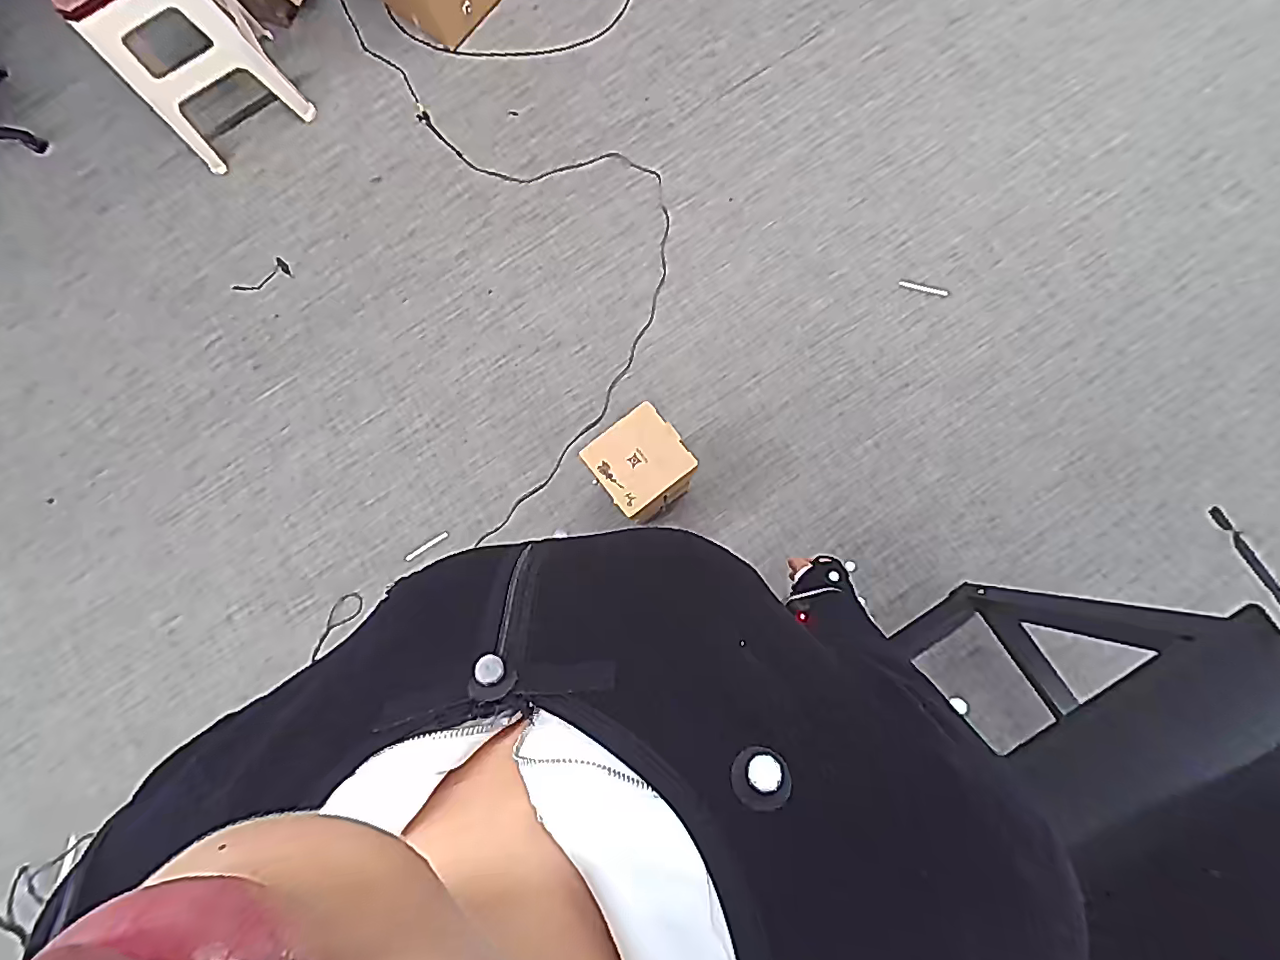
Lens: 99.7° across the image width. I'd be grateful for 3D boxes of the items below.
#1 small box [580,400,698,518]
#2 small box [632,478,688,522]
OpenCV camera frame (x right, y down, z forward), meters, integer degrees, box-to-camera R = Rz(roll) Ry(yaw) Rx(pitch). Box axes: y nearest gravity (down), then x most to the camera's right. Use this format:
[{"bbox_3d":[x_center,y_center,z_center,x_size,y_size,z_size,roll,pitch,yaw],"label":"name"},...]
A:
[{"bbox_3d":[-0.002,-0.036,1.133,0.179,0.176,0.168,-38,82,-3],"label":"small box"},{"bbox_3d":[0.010,-0.002,1.457,0.179,0.176,0.168,-37,82,-1],"label":"small box"}]
